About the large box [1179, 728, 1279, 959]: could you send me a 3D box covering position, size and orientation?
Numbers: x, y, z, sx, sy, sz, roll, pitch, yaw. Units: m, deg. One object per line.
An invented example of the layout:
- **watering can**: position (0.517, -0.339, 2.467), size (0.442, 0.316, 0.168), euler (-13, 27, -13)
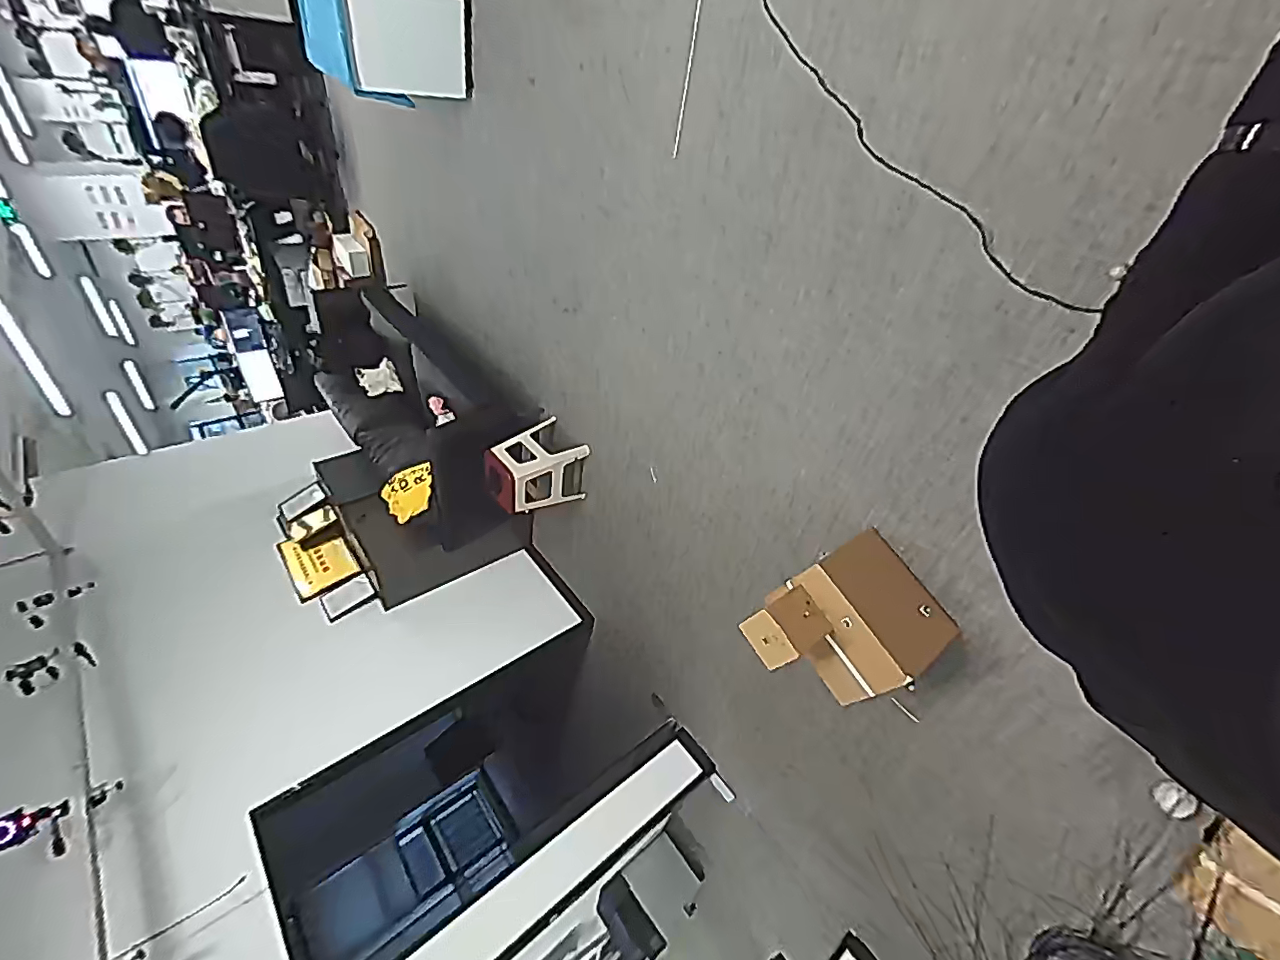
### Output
- **large box**: position (1.373, 0.775, 1.024), size (0.408, 0.320, 0.320), euler (30, 132, 41)

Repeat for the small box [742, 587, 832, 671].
- **small box**: position (0.456, 0.458, 1.671), size (0.168, 0.176, 0.179), euler (56, 146, 17)
